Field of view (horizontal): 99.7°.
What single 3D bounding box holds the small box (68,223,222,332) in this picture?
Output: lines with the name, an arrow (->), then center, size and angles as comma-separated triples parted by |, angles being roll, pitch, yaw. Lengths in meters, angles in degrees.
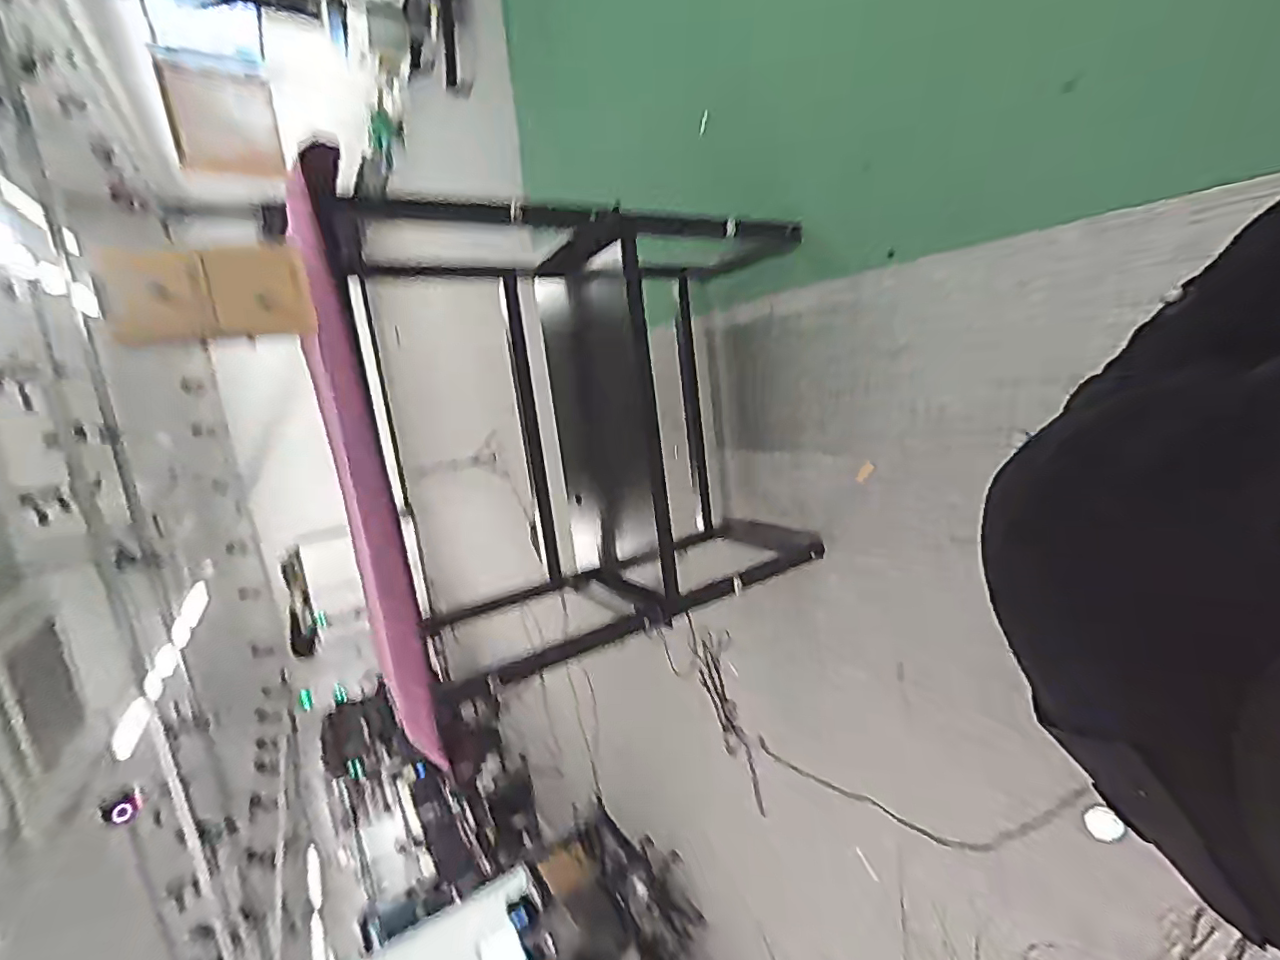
small box -> -0.922, -0.379, 1.029 | 0.179, 0.176, 0.168 | 11, 112, 56

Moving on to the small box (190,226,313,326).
small box -> -0.786, -0.416, 1.112 | 0.179, 0.176, 0.168 | 12, 112, 57
